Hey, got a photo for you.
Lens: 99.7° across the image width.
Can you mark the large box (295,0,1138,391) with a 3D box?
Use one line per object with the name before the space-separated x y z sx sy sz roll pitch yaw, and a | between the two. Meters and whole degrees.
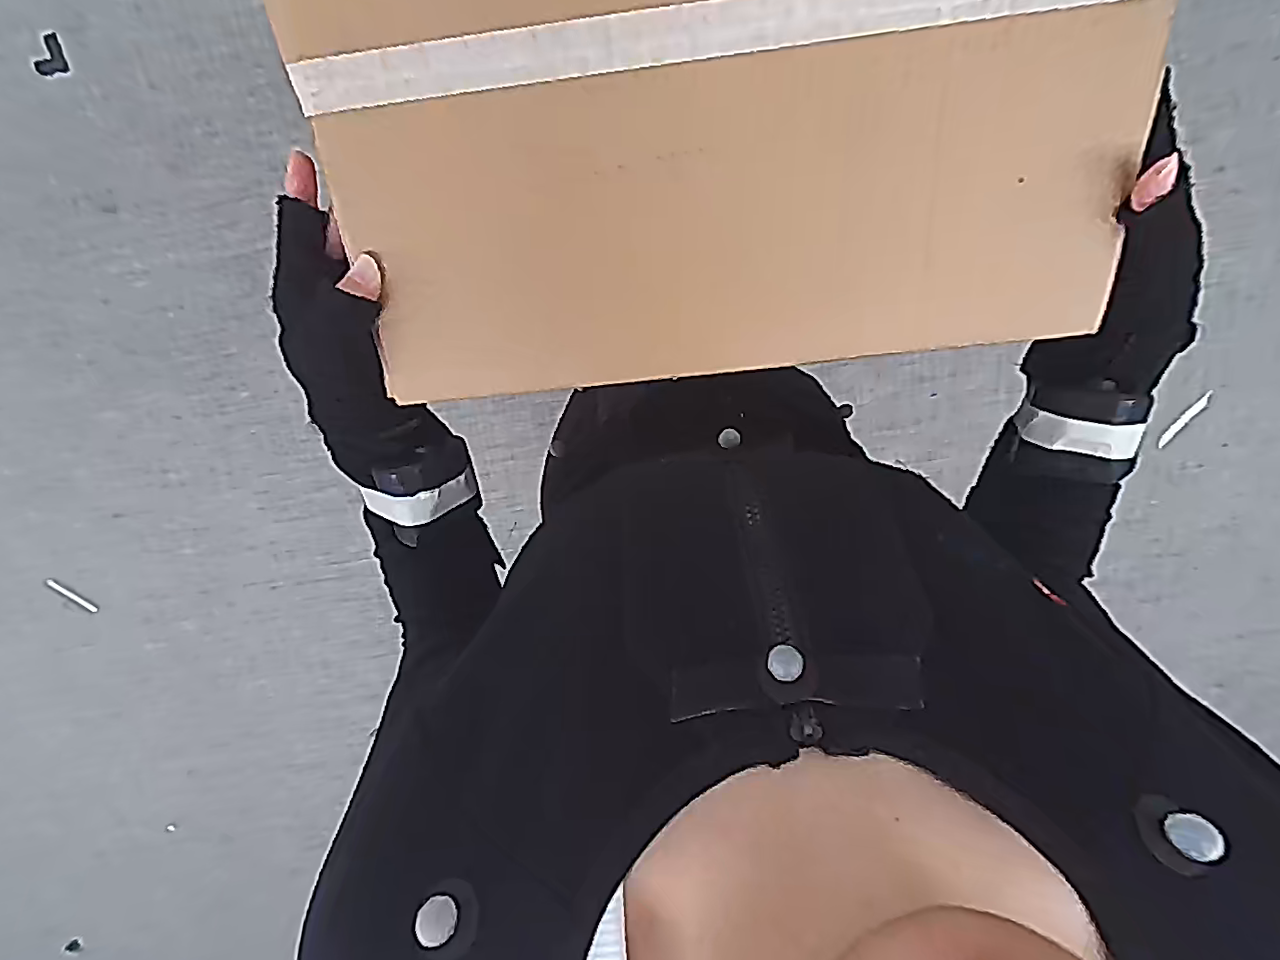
large box | 0.036 -0.273 0.399 0.408 0.320 0.320 -6 114 3
